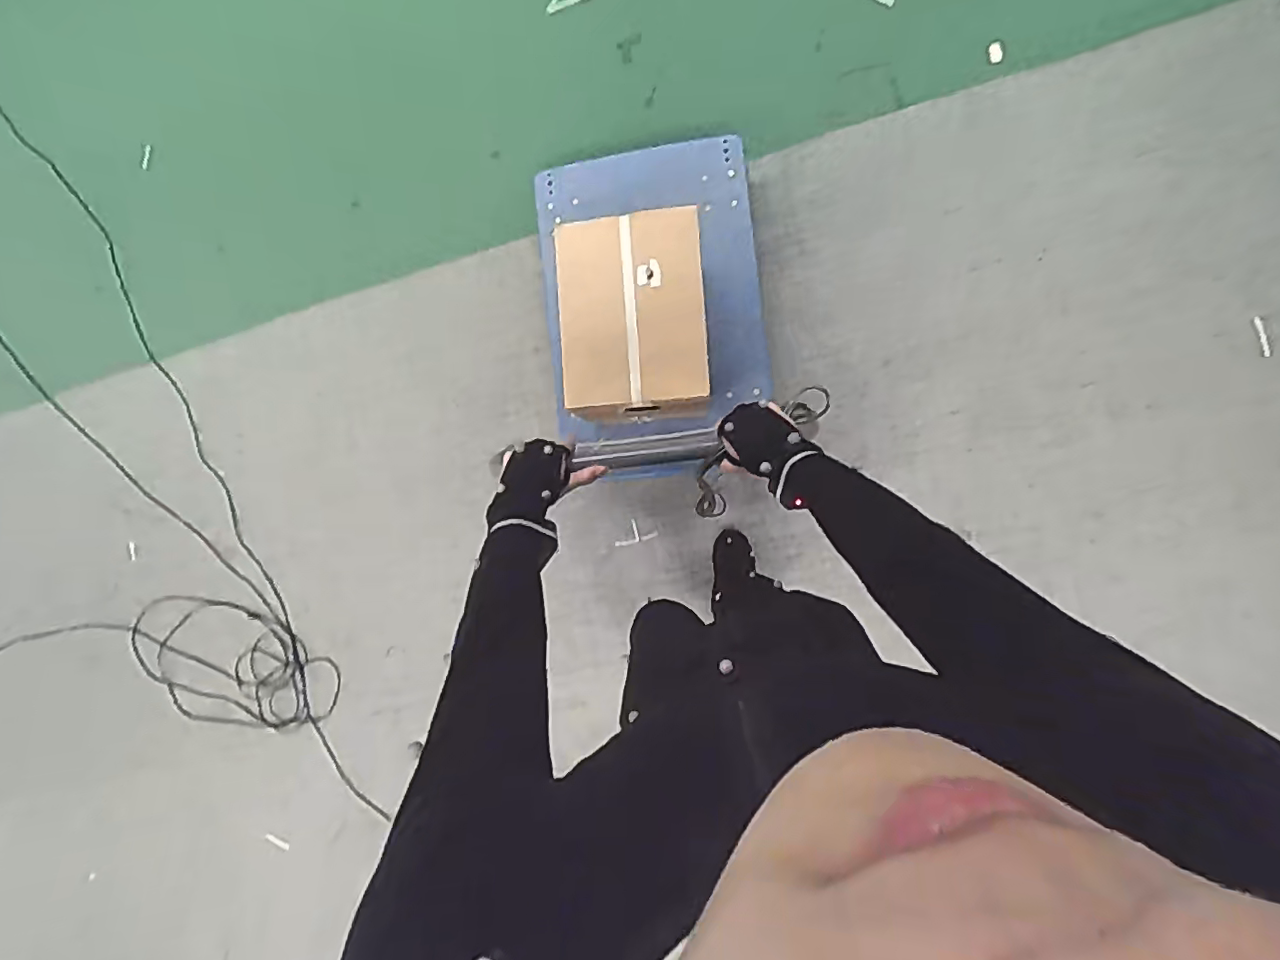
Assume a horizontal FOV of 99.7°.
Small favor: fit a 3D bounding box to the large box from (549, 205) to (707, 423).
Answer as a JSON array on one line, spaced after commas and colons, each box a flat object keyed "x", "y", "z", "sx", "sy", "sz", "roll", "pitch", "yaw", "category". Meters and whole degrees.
[{"x": -0.011, "y": -0.367, "z": 1.298, "sx": 0.320, "sy": 0.320, "sz": 0.408, "roll": -4, "pitch": 88, "yaw": 7, "category": "large box"}]
